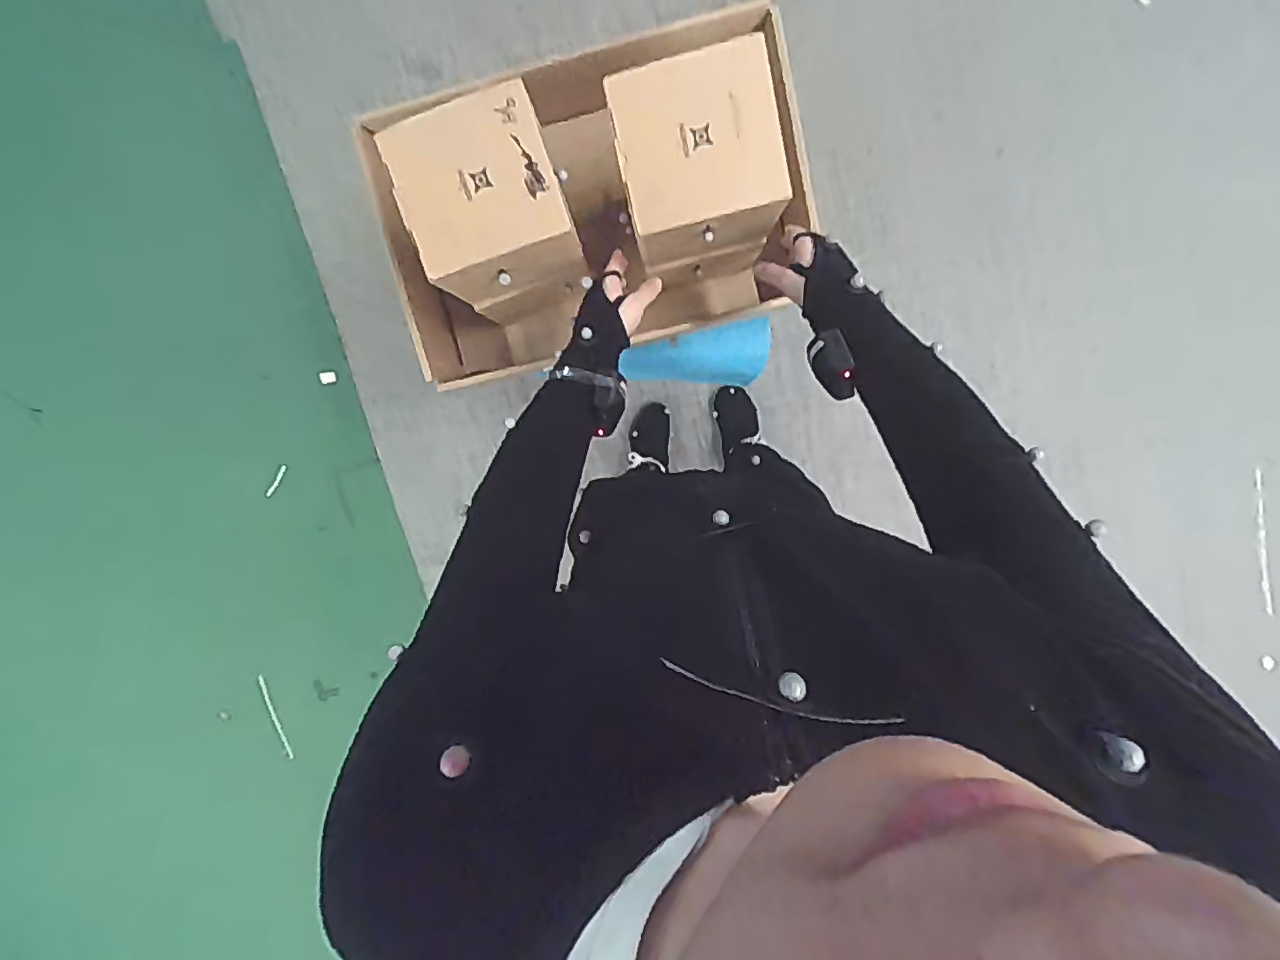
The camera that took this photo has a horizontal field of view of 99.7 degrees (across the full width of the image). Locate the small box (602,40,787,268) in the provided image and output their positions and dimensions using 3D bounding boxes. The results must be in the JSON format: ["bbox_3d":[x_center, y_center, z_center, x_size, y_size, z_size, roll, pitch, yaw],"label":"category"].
[{"bbox_3d":[0.064,-0.374,0.658,0.179,0.176,0.168,-12,98,5],"label":"small box"}]

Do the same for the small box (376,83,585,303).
[{"bbox_3d":[-0.182,-0.336,0.674,0.179,0.176,0.168,-18,98,4],"label":"small box"}]
